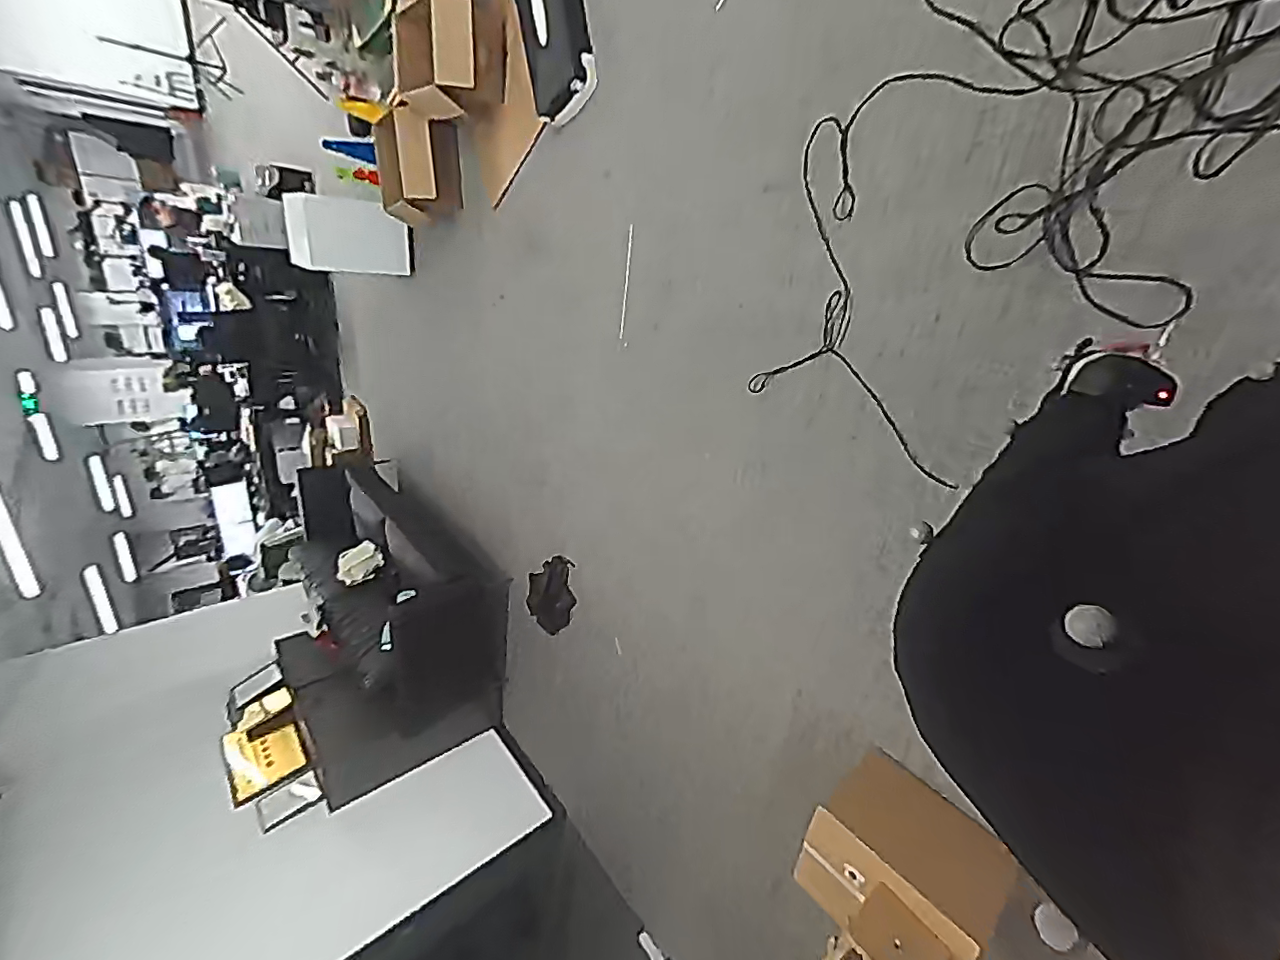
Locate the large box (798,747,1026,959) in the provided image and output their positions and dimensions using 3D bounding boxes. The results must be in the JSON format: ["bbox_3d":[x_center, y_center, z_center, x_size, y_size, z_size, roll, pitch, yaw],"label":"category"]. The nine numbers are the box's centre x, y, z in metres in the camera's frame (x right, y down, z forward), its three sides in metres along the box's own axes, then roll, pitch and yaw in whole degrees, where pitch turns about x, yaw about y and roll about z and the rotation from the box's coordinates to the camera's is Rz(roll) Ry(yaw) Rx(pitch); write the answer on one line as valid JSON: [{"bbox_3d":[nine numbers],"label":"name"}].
[{"bbox_3d":[0.703,1.019,1.430,0.408,0.320,0.320,31,122,43],"label":"large box"}]
